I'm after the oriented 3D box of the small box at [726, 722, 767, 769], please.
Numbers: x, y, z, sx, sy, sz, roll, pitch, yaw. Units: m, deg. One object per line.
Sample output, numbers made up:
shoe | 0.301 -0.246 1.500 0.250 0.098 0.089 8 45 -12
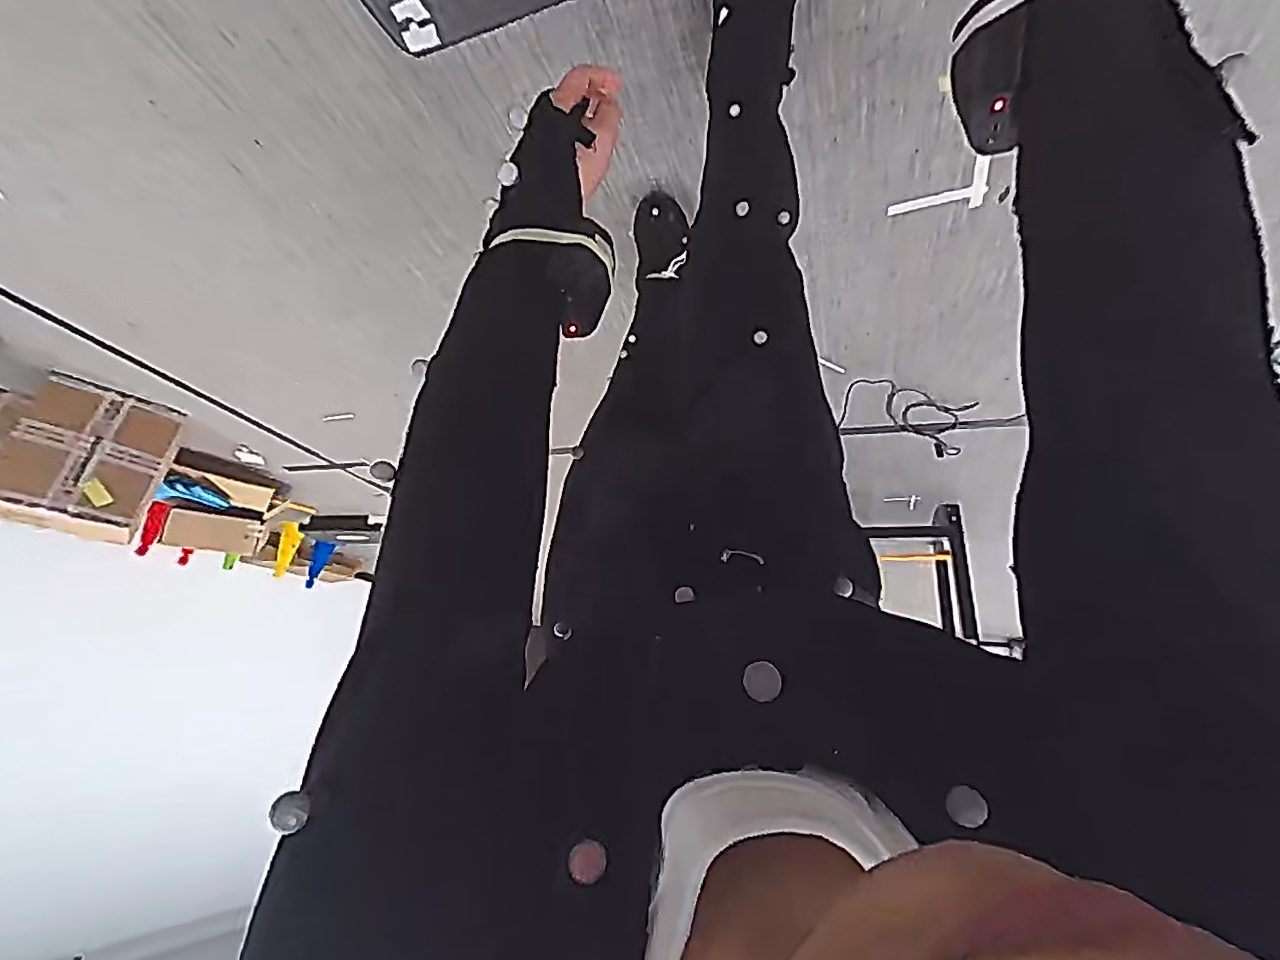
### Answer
small box | 0.474 1.171 2.390 0.168 0.176 0.179 -3 155 17
